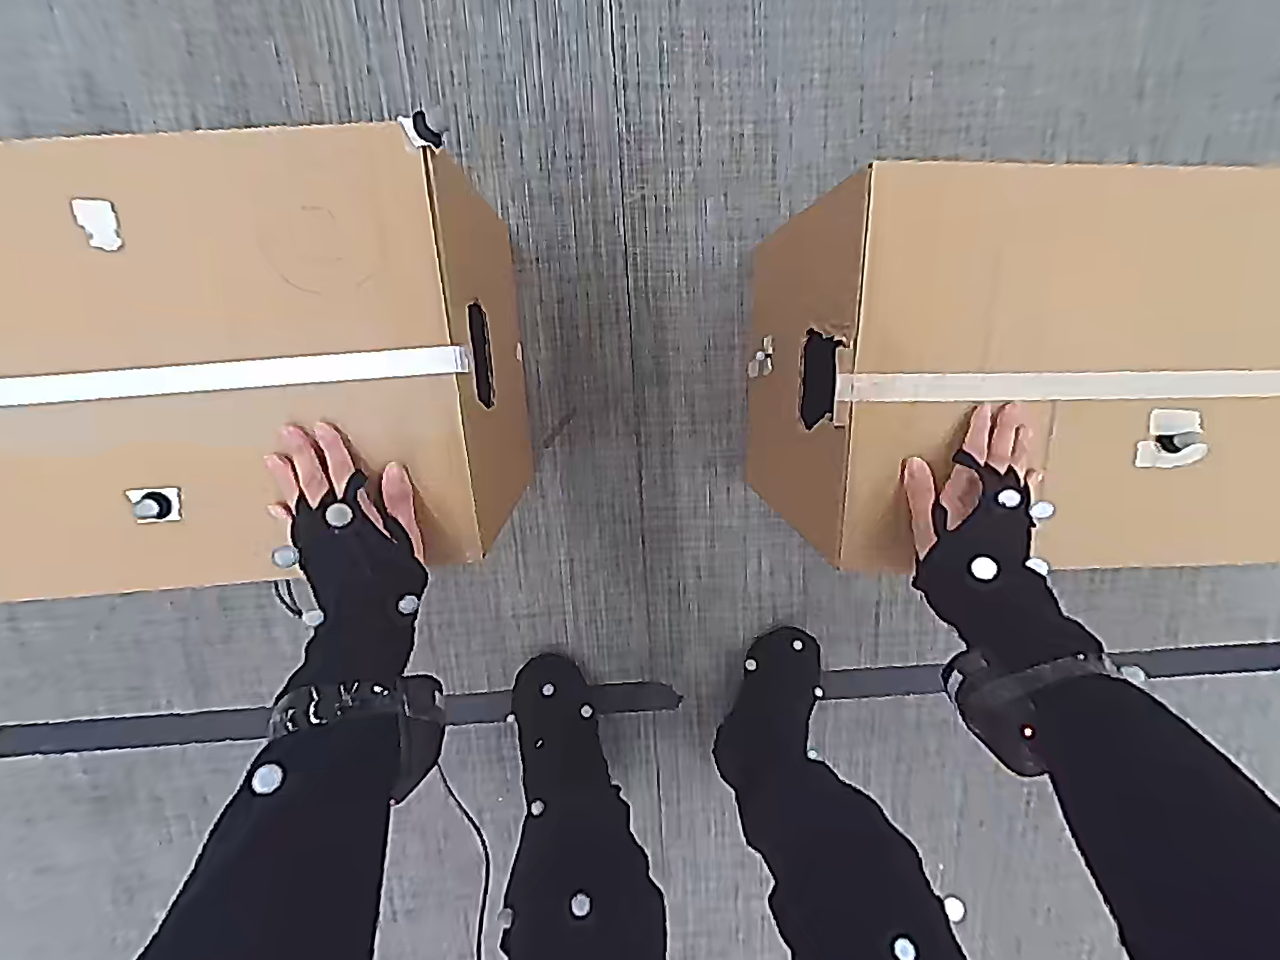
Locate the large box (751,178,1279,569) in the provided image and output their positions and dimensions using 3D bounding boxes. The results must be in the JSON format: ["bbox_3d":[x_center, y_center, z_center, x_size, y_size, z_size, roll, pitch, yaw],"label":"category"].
[{"bbox_3d":[0.355,-0.110,0.590,0.408,0.320,0.320,-1,104,-4],"label":"large box"}]
